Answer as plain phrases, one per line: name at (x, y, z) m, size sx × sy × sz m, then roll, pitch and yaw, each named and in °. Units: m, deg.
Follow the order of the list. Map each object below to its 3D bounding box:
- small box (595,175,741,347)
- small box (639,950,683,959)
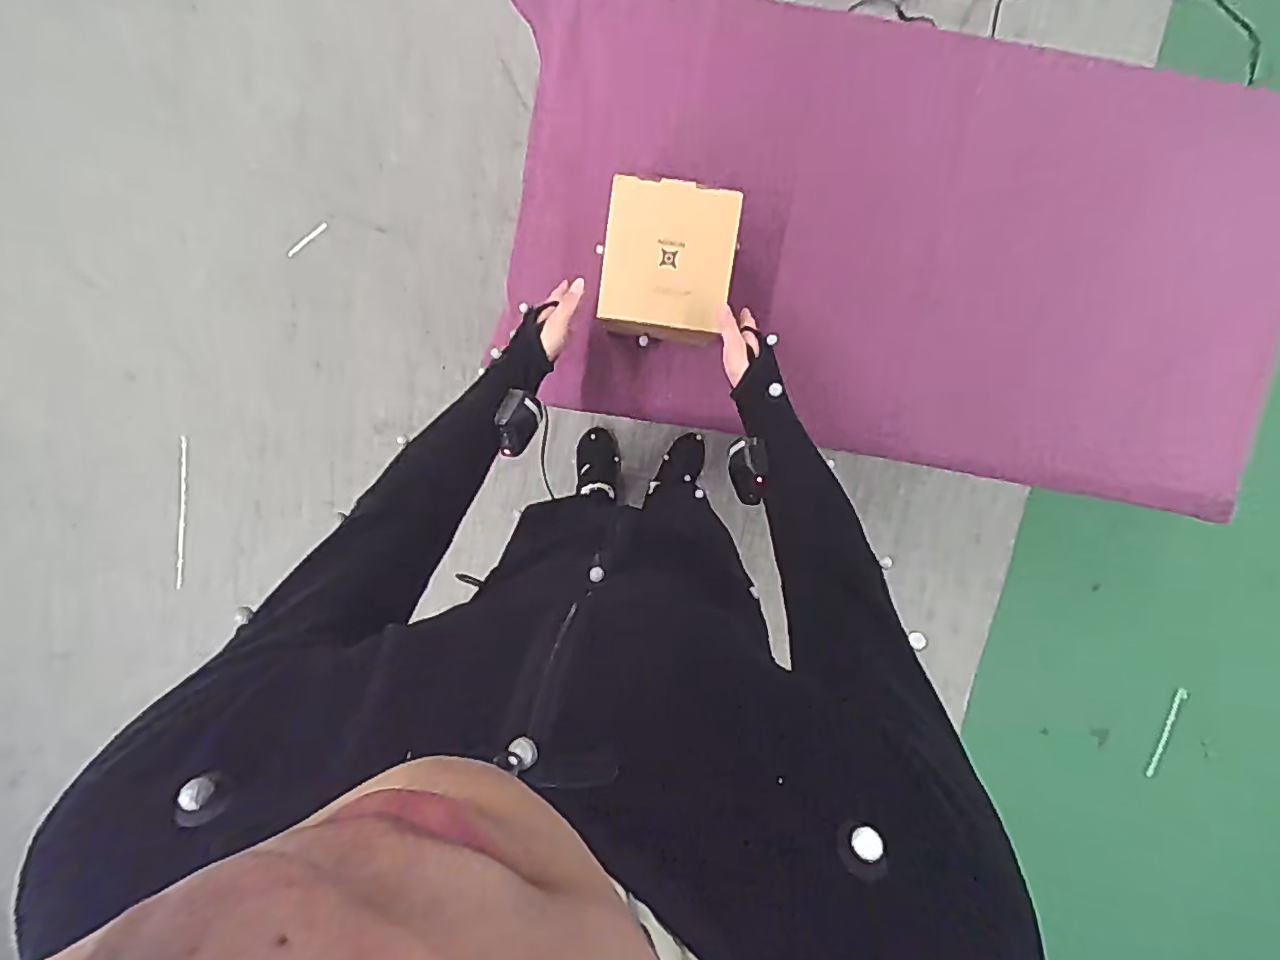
small box at (0.034, -0.293, 0.760) m, size 0.168 × 0.176 × 0.179 m, roll 8°, pitch 99°, yaw 0°
small box at (0.060, 1.676, 1.734) m, size 0.168 × 0.176 × 0.179 m, roll 15°, pitch 100°, yaw -2°
